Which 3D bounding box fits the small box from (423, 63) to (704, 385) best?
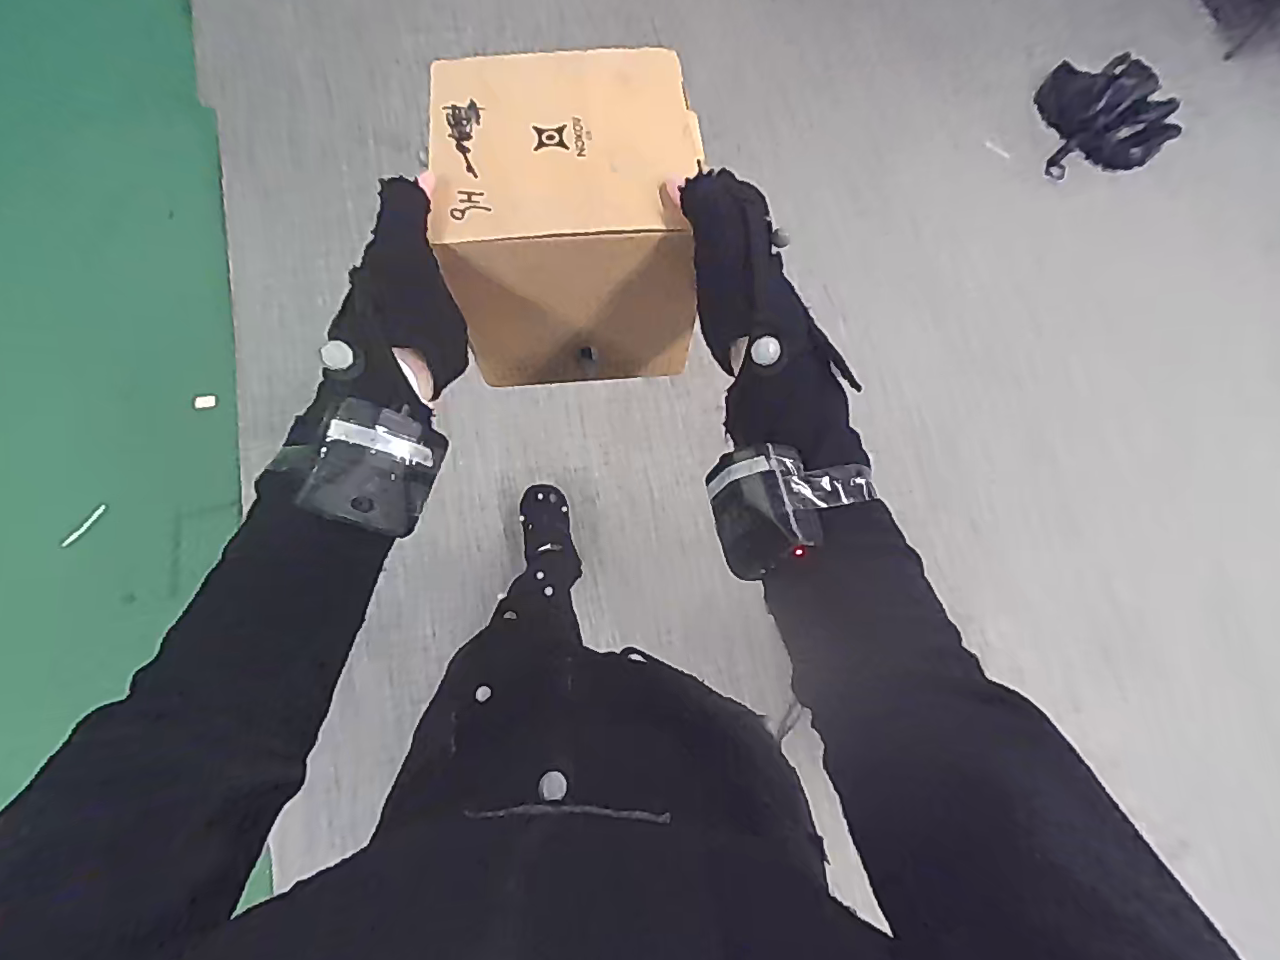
[{"bbox_3d":[-0.057,-0.192,0.436,0.179,0.176,0.168,-5,68,-4],"label":"small box"}]
